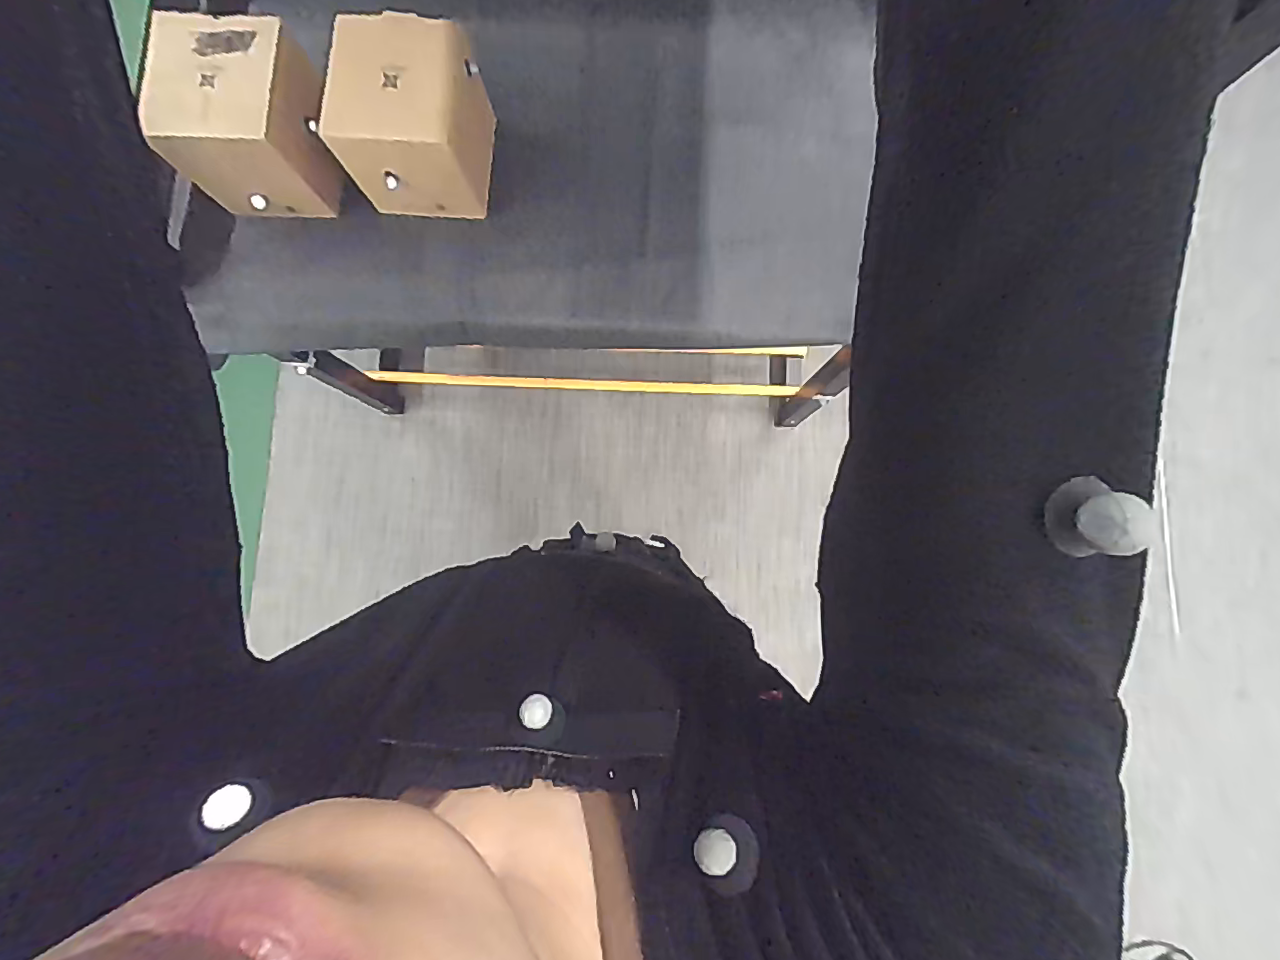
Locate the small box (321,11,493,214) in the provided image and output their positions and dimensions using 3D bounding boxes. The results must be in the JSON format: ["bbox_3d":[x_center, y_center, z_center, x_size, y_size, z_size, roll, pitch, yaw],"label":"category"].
[{"bbox_3d":[-0.317,-0.508,0.769,0.168,0.176,0.179,3,83,0],"label":"small box"}]

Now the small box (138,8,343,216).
[{"bbox_3d":[-0.544,-0.509,0.766,0.168,0.176,0.179,2,83,0],"label":"small box"}]
